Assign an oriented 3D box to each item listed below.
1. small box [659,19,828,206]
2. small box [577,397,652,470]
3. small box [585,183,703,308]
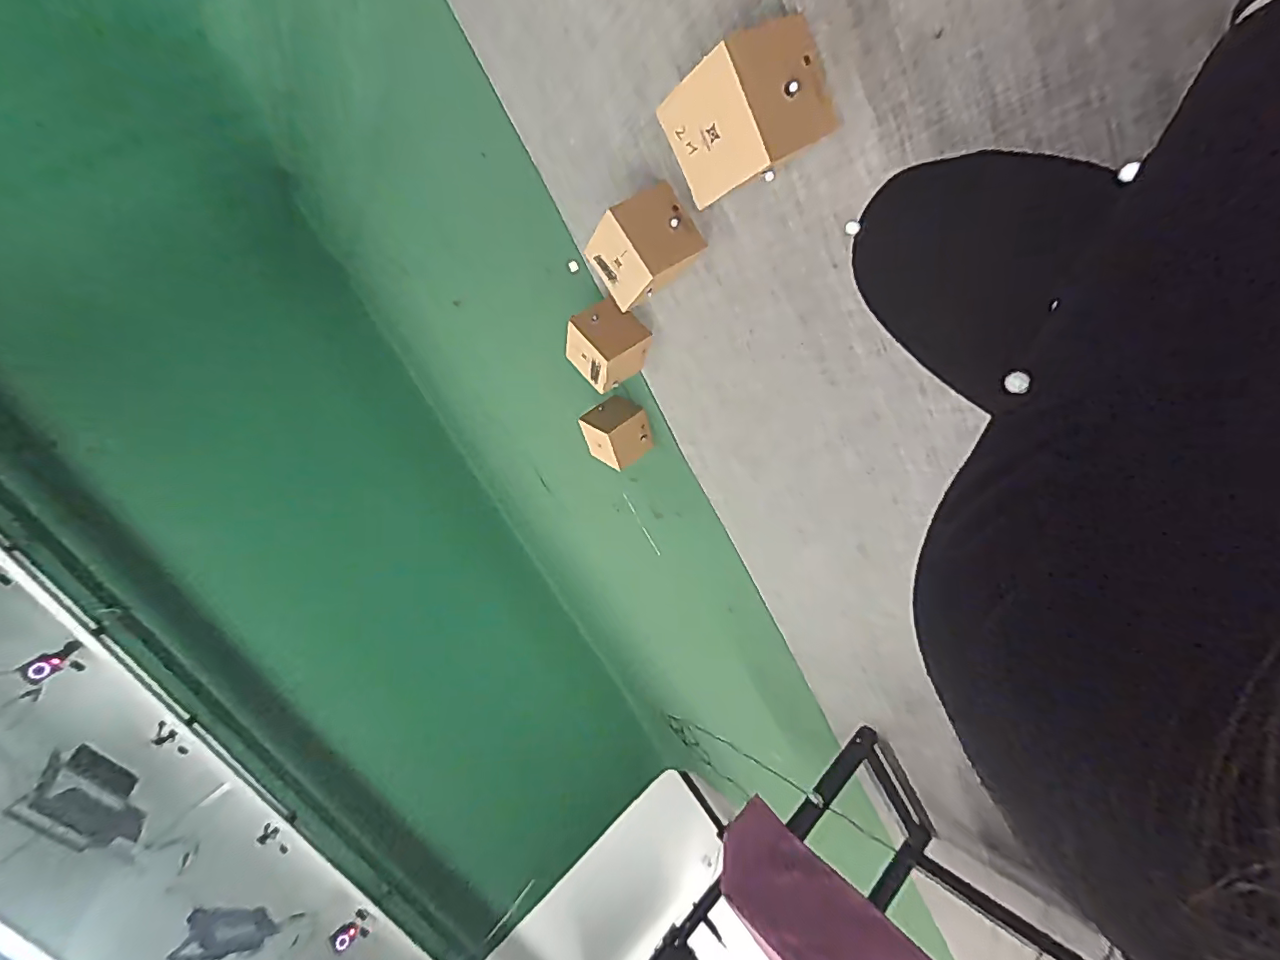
[{"bbox_3d":[0.168,-0.568,0.846,0.179,0.176,0.168,6,128,60],"label":"small box"},{"bbox_3d":[-0.086,-0.170,1.884,0.179,0.176,0.168,31,148,42],"label":"small box"},{"bbox_3d":[0.010,-0.520,1.208,0.168,0.176,0.179,56,156,-7],"label":"small box"}]
